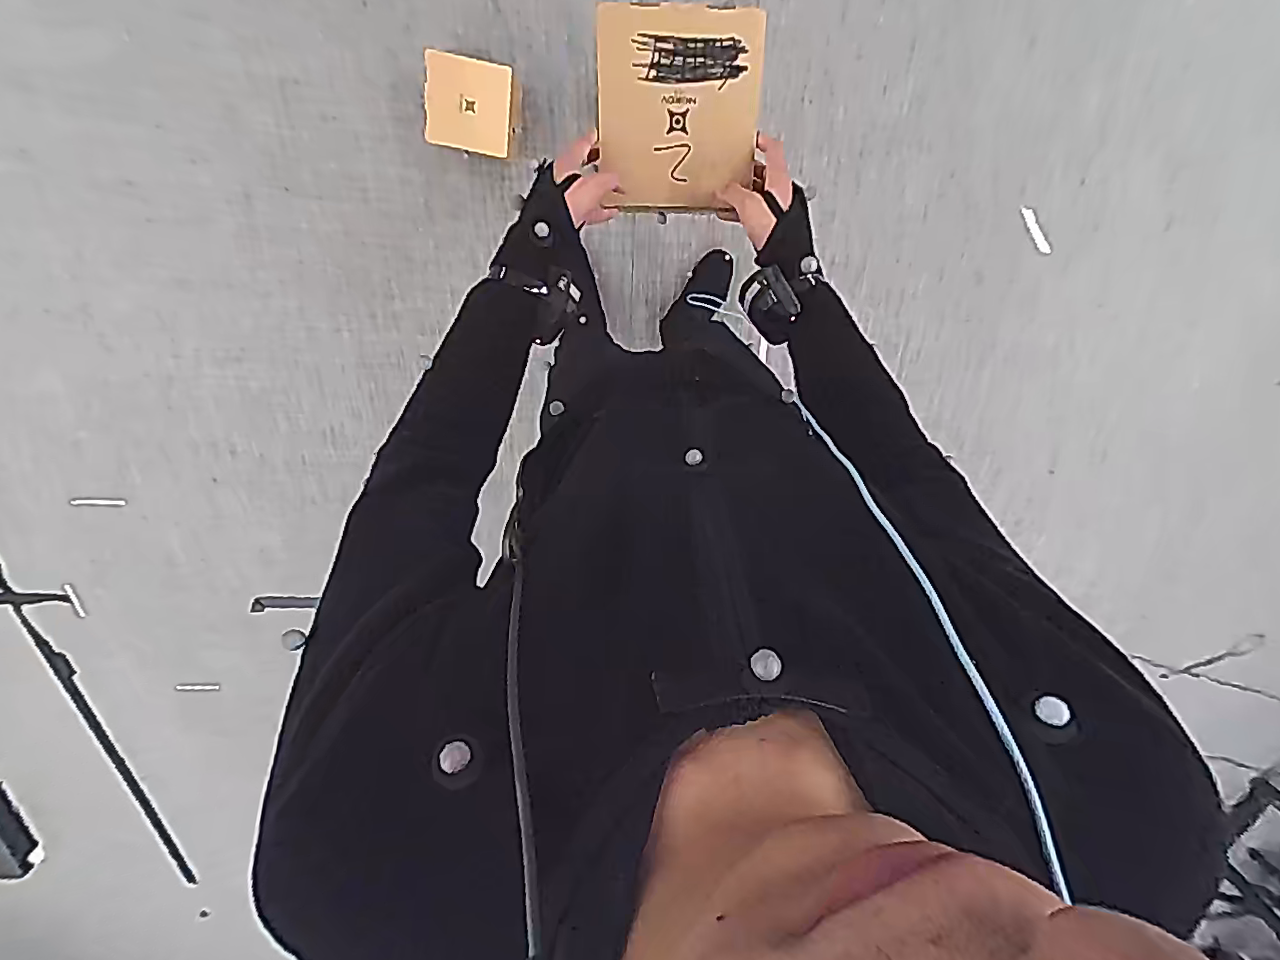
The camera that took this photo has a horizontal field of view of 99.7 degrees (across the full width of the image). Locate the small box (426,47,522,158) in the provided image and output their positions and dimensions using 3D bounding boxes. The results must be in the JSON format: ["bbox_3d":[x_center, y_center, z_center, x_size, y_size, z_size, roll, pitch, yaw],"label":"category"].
[{"bbox_3d":[-0.364,-0.826,1.203,0.179,0.176,0.168,8,117,-6],"label":"small box"}]

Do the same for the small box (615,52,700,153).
[{"bbox_3d":[0.032,-0.838,1.217,0.179,0.176,0.168,-1,118,-4],"label":"small box"}]
